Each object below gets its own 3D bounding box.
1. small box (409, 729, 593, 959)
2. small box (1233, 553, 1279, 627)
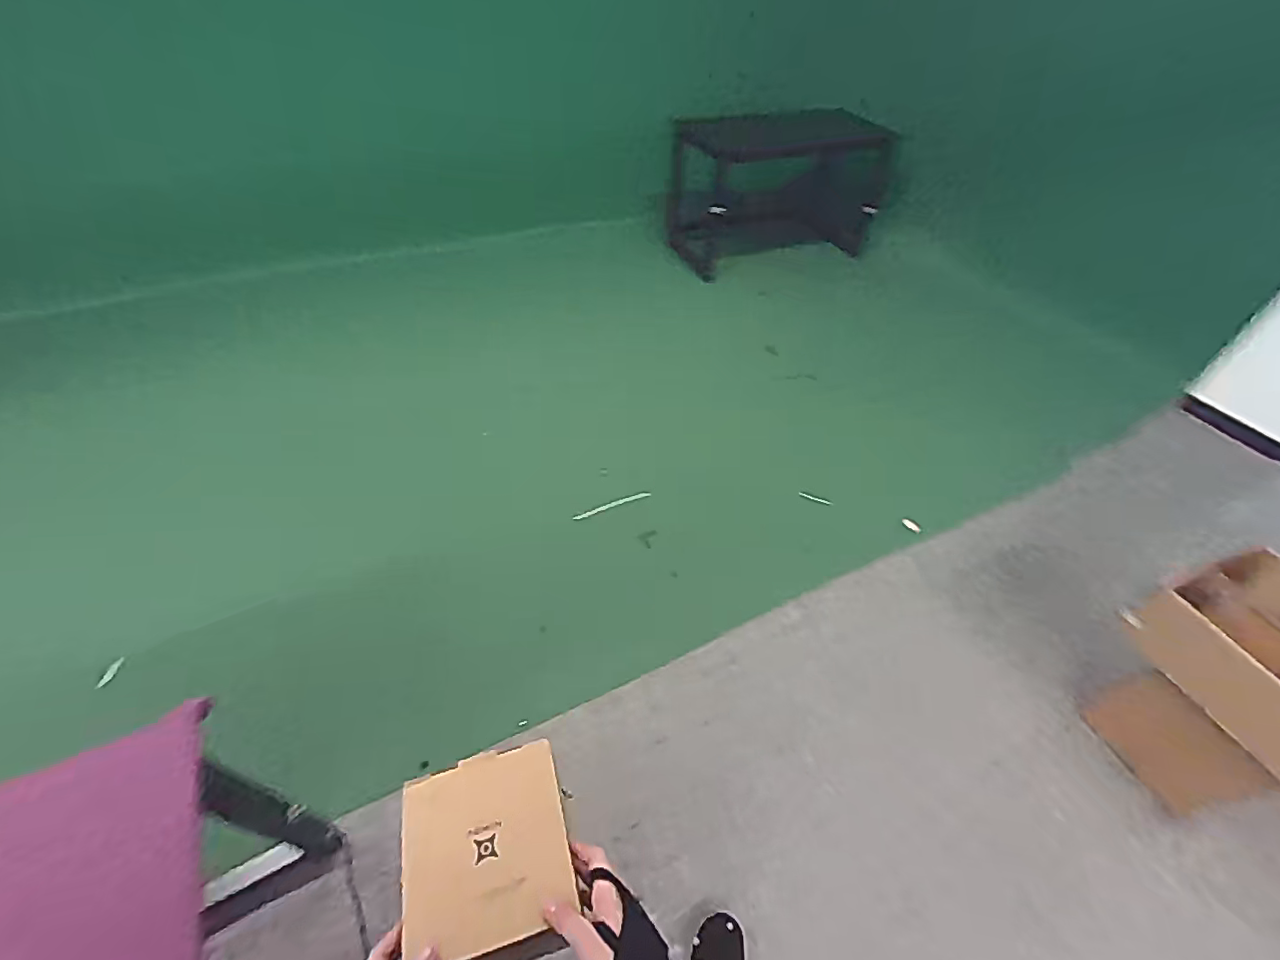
[{"bbox_3d":[-0.151,0.418,0.610,0.168,0.176,0.179,-11,45,-12],"label":"small box"},{"bbox_3d":[1.492,0.228,1.188,0.179,0.176,0.168,-18,50,-18],"label":"small box"}]
